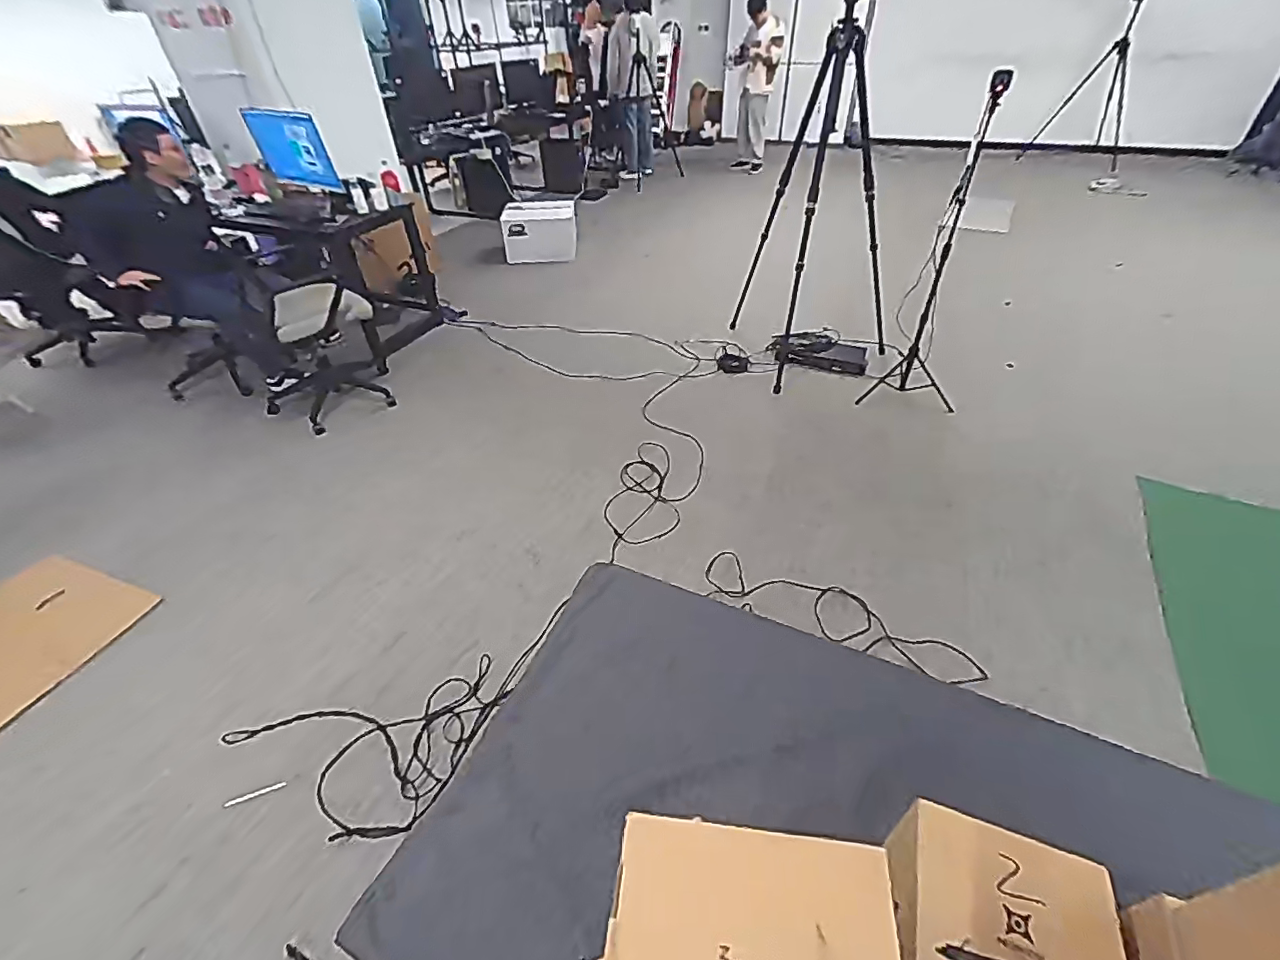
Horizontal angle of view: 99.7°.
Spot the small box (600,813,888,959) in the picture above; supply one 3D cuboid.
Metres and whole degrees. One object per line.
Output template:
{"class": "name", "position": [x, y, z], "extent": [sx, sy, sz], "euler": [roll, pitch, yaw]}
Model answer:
{"class": "small box", "position": [0.073, 0.357, 0.379], "extent": [0.179, 0.176, 0.168], "euler": [0, 48, 13]}

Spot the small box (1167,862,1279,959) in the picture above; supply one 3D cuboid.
{"class": "small box", "position": [0.502, 0.395, 0.345], "extent": [0.168, 0.176, 0.179], "euler": [14, 42, 19]}
